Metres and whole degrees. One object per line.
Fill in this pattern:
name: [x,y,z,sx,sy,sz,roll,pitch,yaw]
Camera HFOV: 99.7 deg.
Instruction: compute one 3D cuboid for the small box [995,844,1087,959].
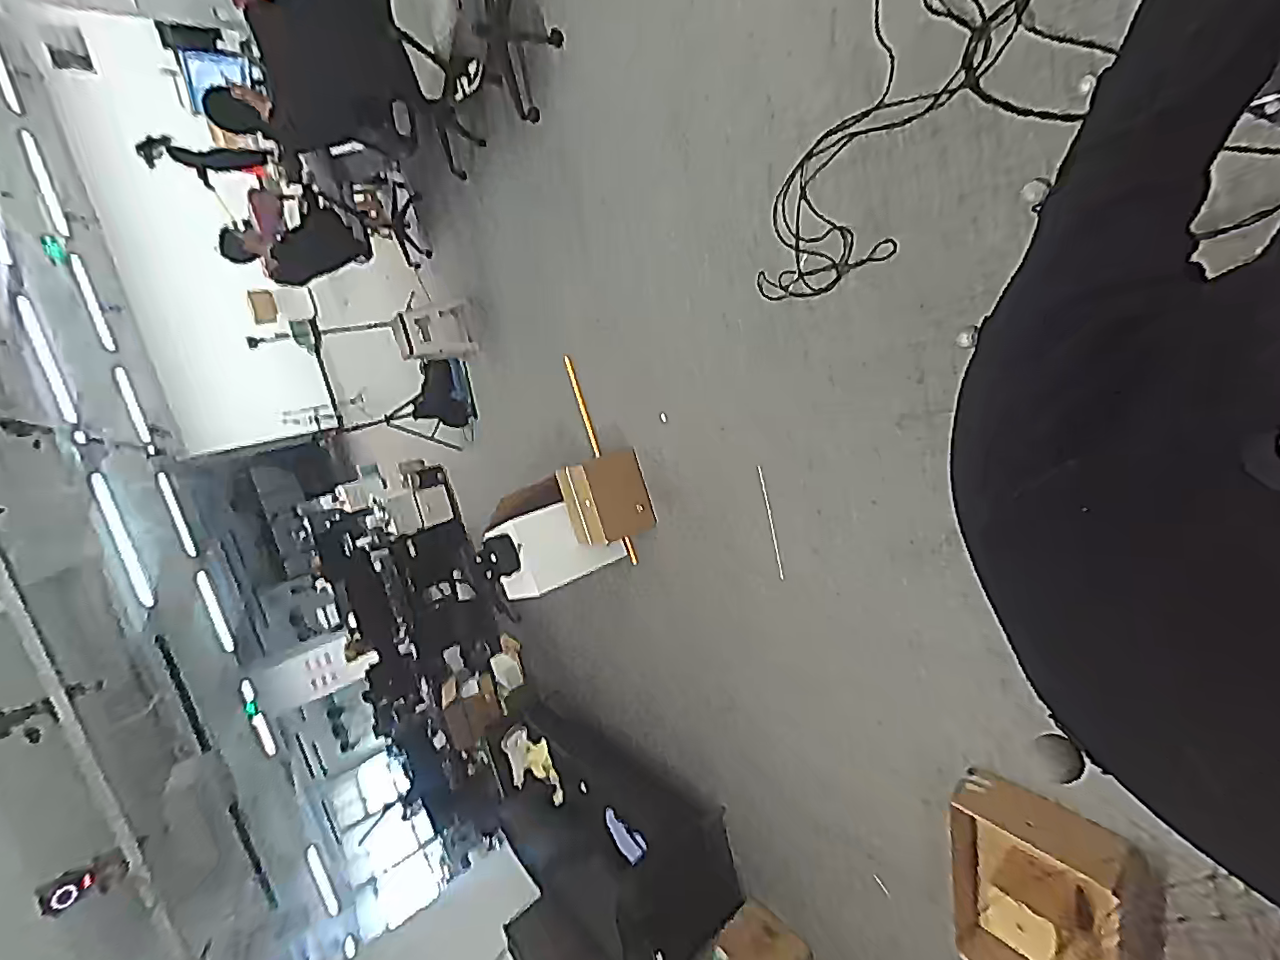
small box: [1.133,1.193,1.528,0.168,0.176,0.179,10,115,55]
